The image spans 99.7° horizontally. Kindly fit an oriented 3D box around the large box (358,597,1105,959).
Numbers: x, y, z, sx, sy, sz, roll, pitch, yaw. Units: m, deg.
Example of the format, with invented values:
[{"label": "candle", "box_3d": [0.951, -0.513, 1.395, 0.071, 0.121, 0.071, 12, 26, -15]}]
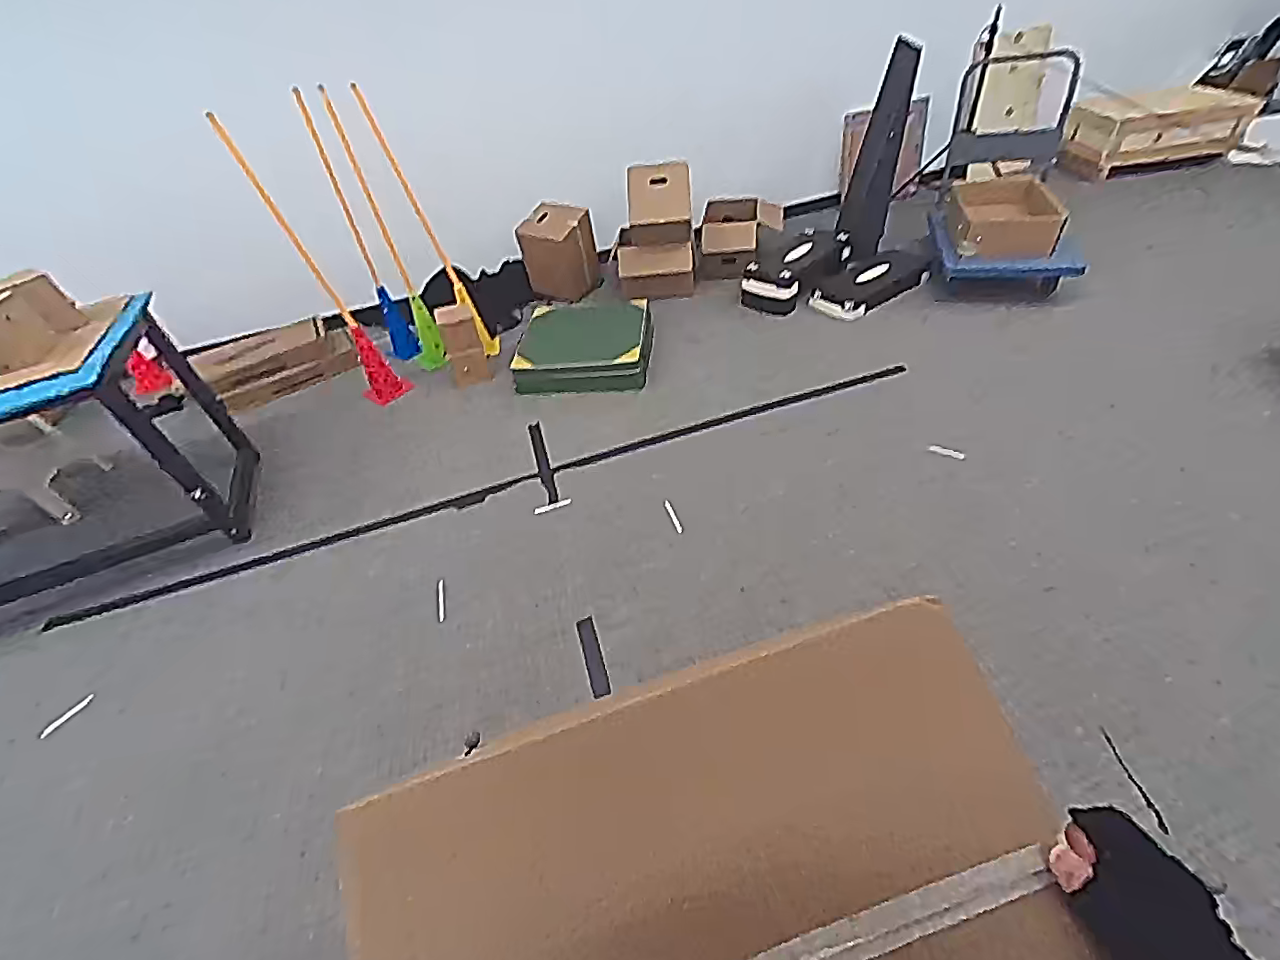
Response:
[{"label": "large box", "box_3d": [0.060, 0.329, 0.450, 0.408, 0.320, 0.320, -19, 72, -4]}]
